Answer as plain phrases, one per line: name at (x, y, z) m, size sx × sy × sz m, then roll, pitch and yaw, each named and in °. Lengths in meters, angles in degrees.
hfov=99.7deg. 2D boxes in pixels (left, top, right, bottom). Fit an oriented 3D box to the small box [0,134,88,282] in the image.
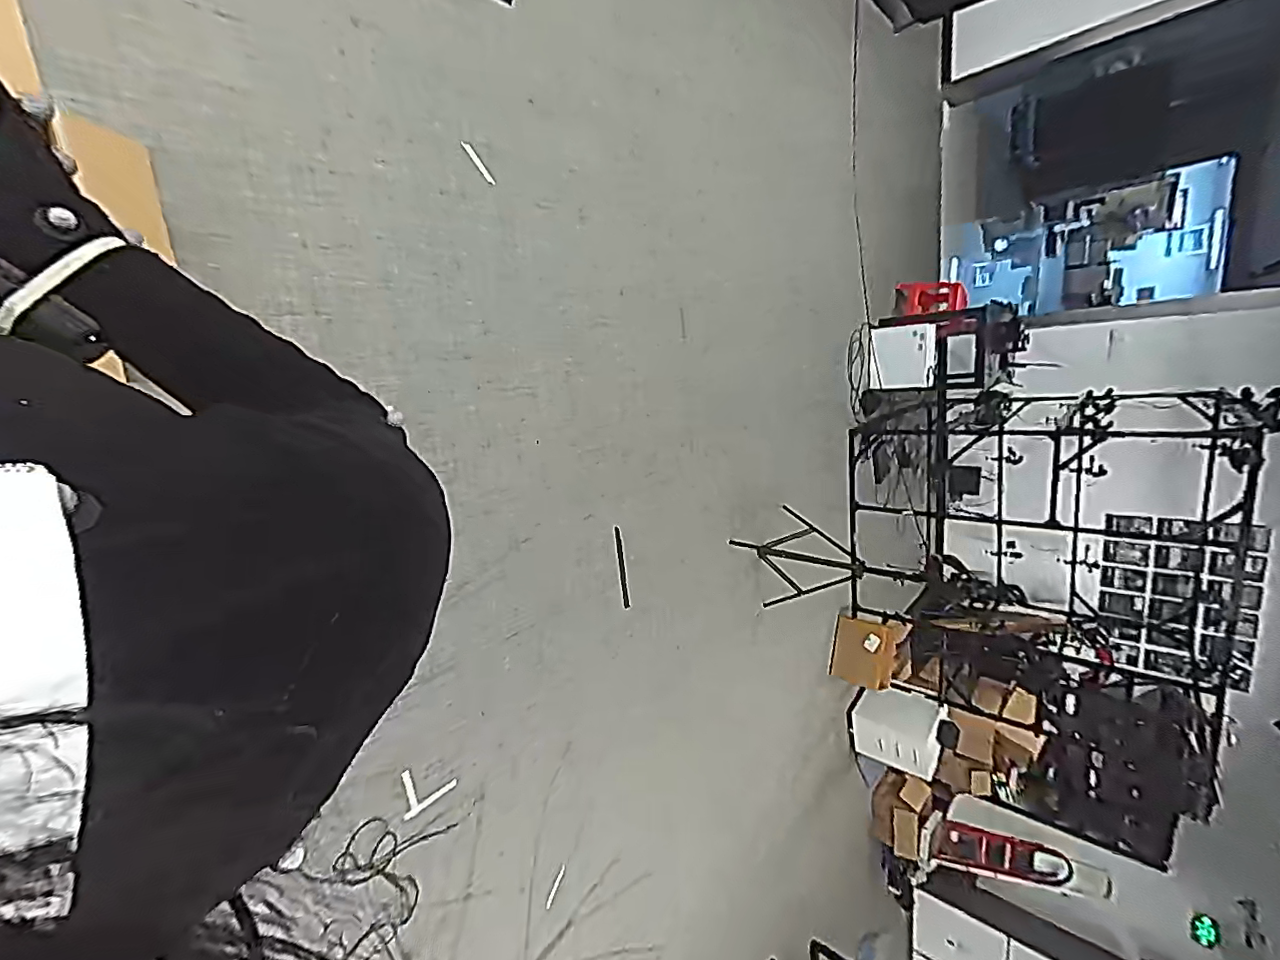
small box at (-0.965, -0.391, 0.794) m, size 0.168 × 0.176 × 0.179 m, roll -28°, pitch 115°, yaw -47°
